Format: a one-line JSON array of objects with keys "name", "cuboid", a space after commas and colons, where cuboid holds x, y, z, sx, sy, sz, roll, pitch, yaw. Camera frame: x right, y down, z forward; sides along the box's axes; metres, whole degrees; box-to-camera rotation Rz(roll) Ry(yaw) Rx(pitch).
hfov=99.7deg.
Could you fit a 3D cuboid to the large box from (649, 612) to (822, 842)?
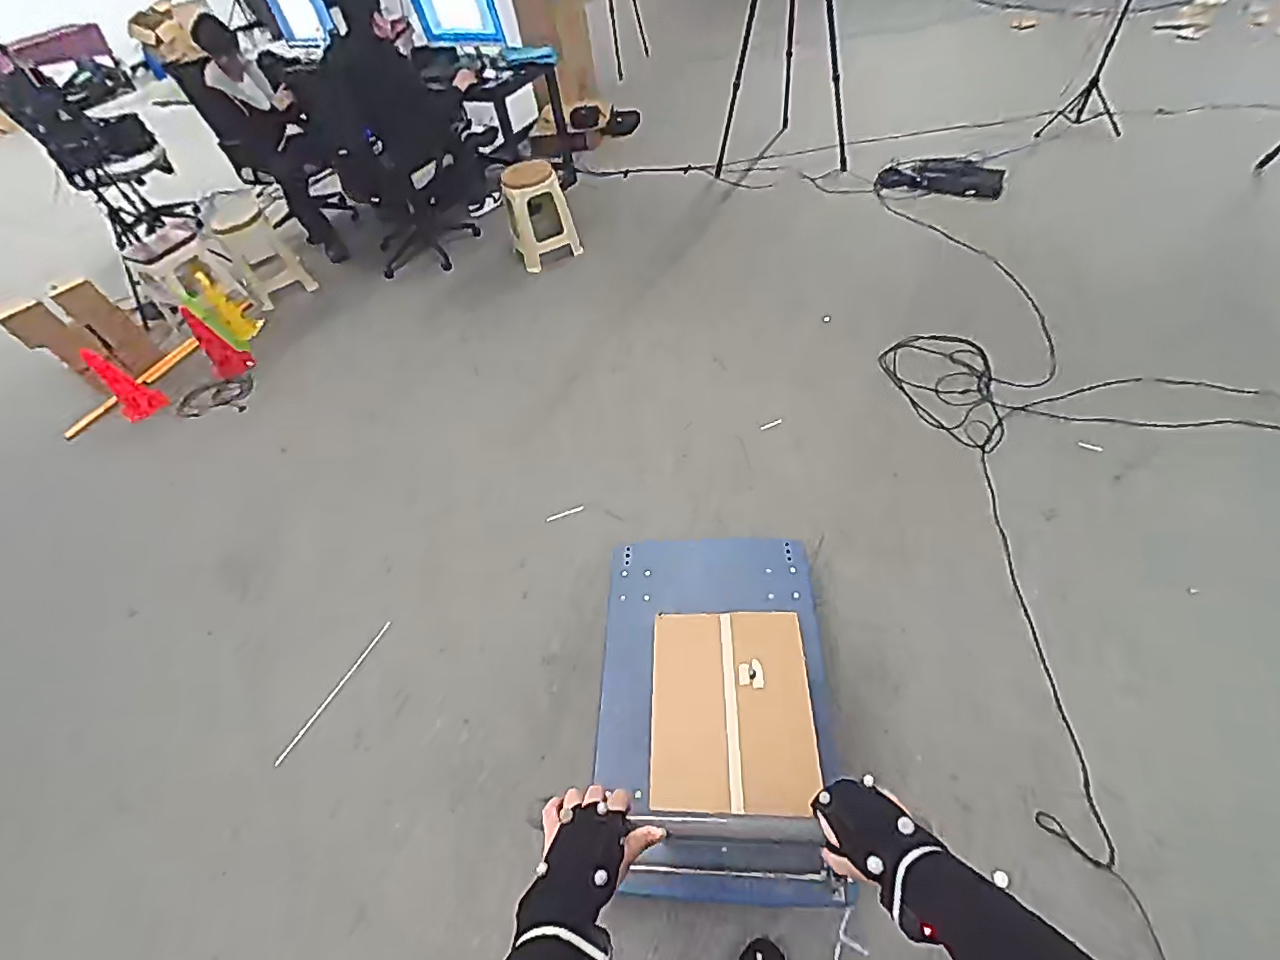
[{"name": "large box", "cuboid": [0.196, 0.549, 1.200, 0.320, 0.320, 0.408, -2, 51, 7]}]
